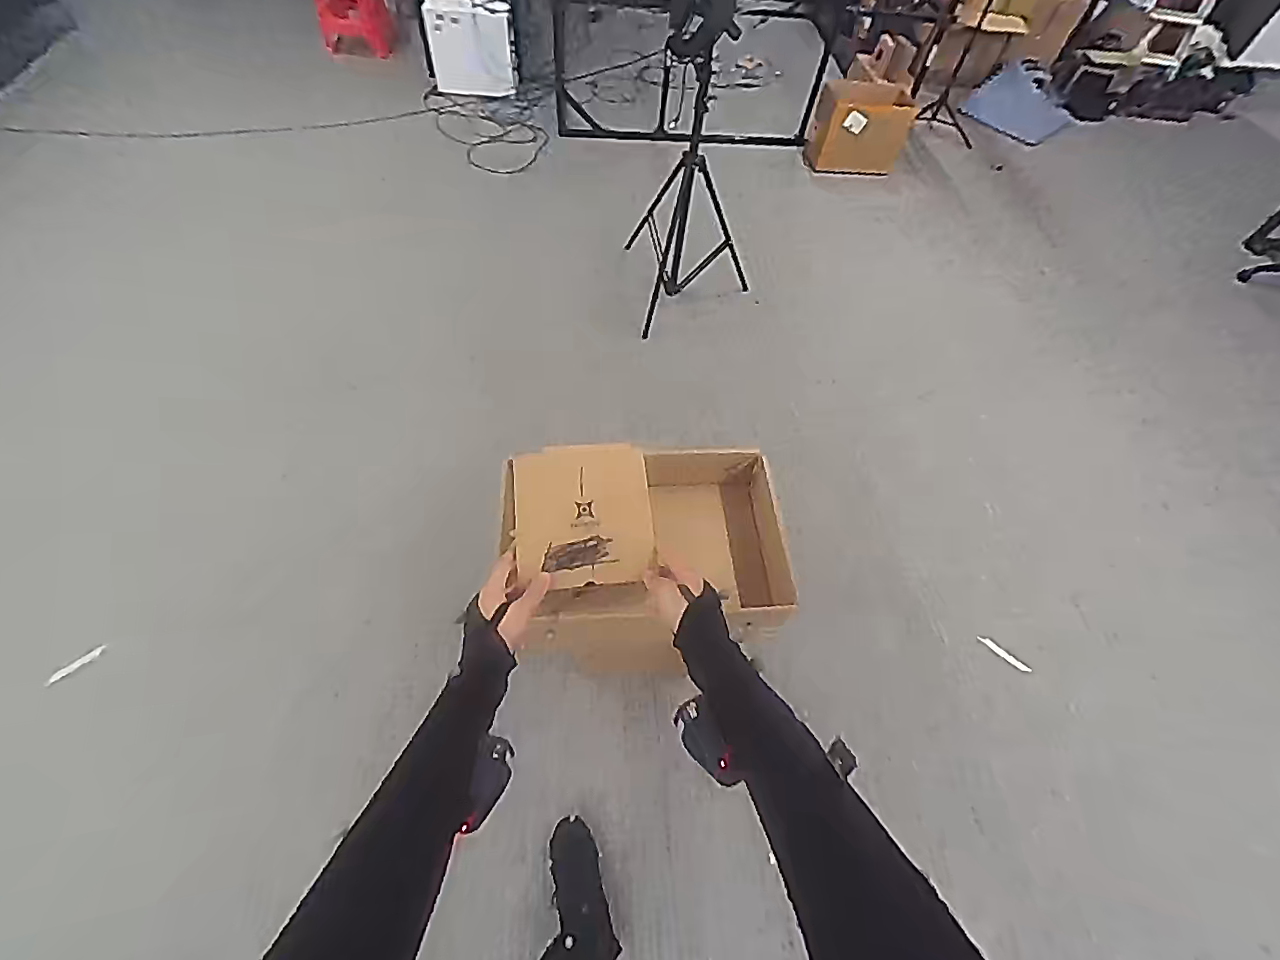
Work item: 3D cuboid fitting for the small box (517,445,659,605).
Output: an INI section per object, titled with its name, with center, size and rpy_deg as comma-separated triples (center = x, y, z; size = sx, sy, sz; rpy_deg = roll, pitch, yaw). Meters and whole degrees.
[small box]
center = -0.072, 0.069, 0.734
size = 0.168, 0.176, 0.179
rpy_deg = -4, 69, -8
